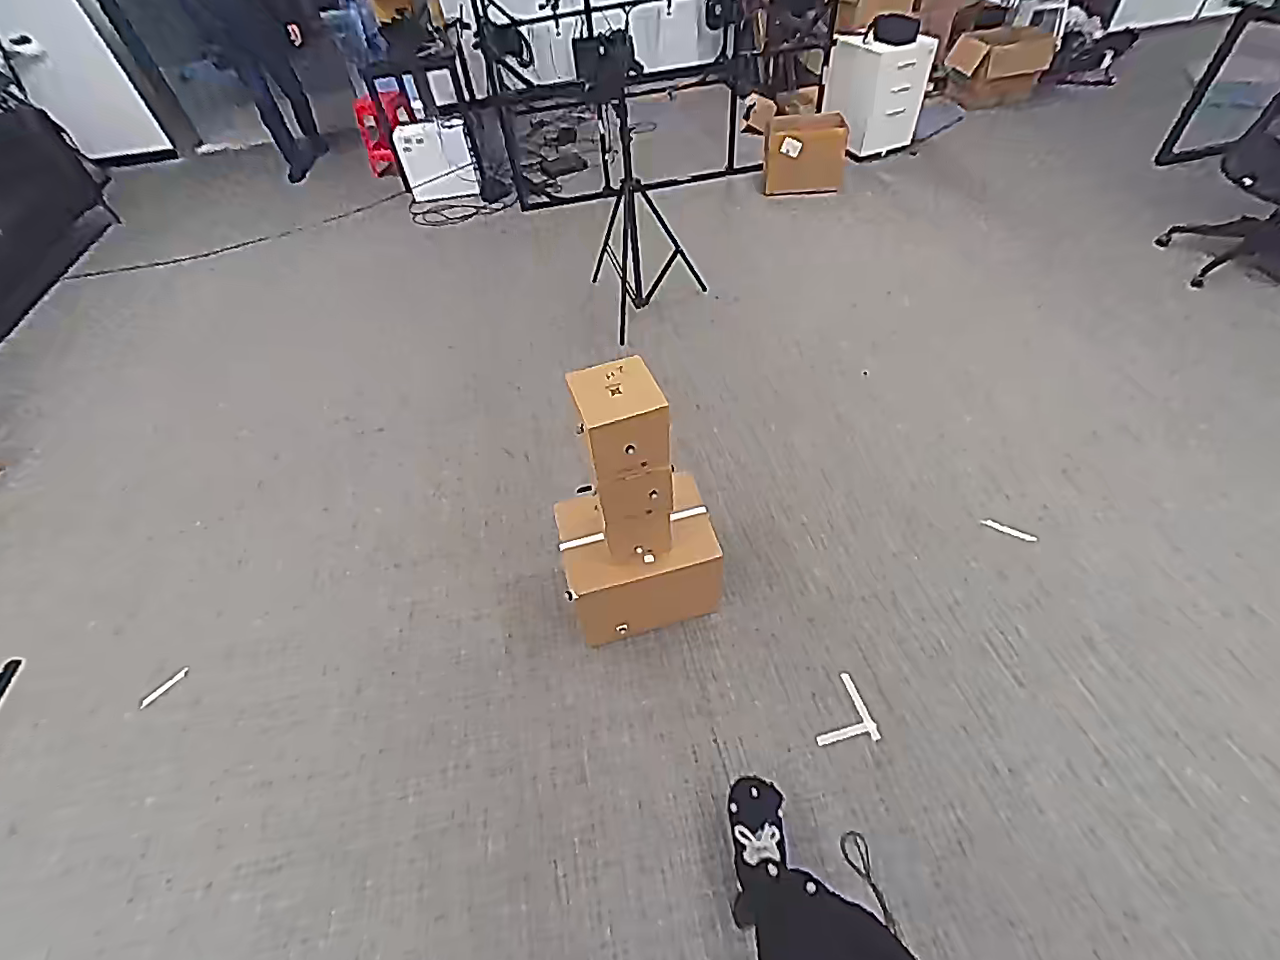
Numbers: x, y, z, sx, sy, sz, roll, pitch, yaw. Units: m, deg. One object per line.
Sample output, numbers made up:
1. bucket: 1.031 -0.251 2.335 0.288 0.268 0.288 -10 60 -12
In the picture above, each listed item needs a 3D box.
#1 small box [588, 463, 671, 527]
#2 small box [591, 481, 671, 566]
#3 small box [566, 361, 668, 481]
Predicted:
1. small box: -0.028 -0.008 1.262 0.168 0.176 0.179 -14 49 -8
2. small box: -0.022 0.093 1.388 0.168 0.176 0.179 -14 51 -6
3. small box: -0.045 -0.117 1.138 0.168 0.176 0.179 -17 51 -11
